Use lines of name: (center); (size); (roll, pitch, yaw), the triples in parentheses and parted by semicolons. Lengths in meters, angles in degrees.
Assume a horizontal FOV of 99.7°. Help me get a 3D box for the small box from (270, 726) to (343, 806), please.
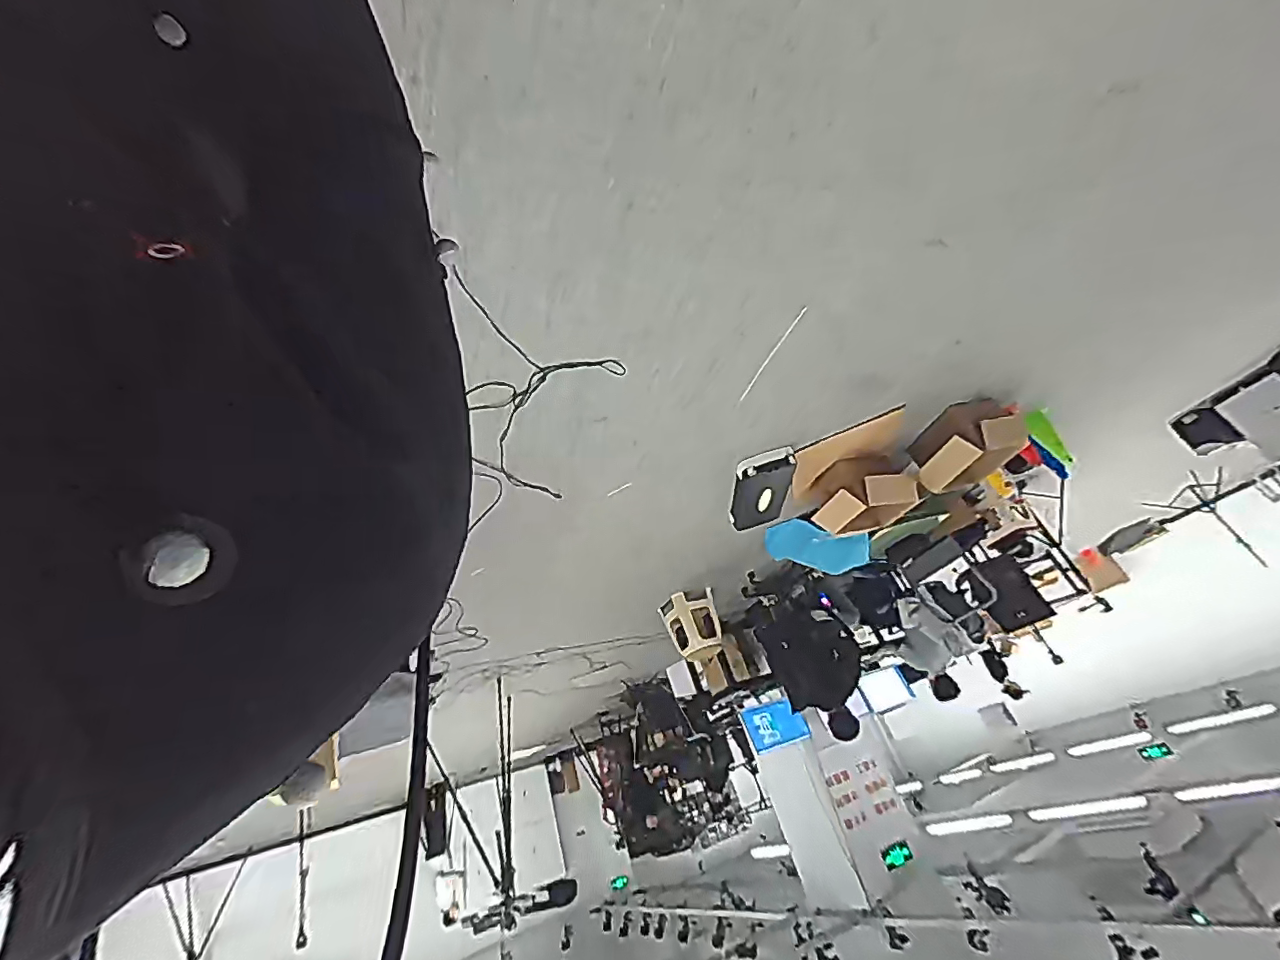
small box: (-1.006, 0.863, 1.638); (0.179, 0.176, 0.168); (-3, 147, -27)
